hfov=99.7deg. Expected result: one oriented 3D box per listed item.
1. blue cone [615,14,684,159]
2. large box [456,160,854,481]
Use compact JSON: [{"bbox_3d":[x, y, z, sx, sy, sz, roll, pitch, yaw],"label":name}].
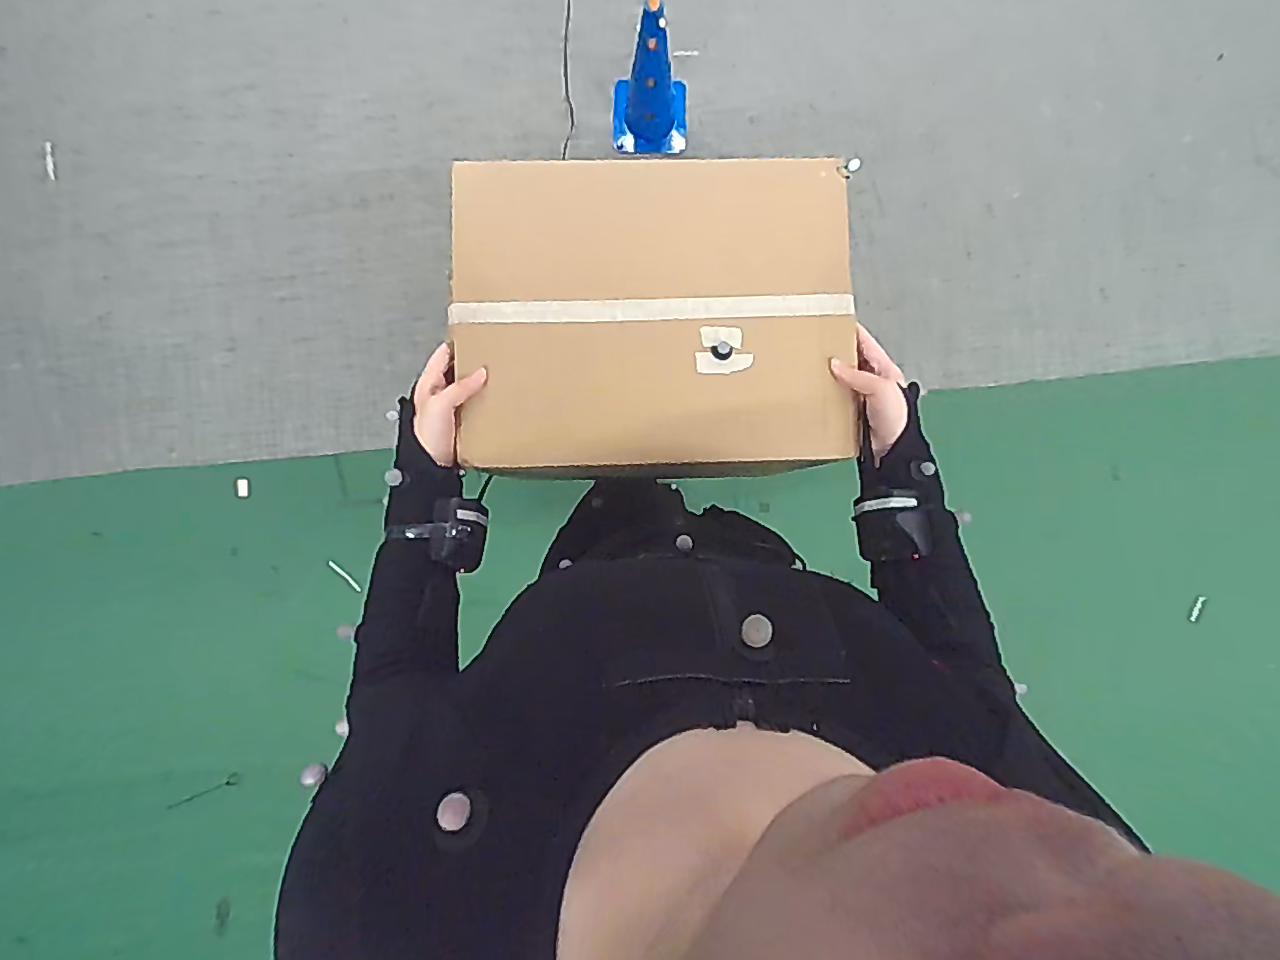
[{"bbox_3d":[0.028,-0.986,1.332,0.193,0.380,0.192,2,91,0],"label":"blue cone"},{"bbox_3d":[0.008,-0.169,0.702,0.408,0.320,0.320,-2,88,-3],"label":"large box"}]
